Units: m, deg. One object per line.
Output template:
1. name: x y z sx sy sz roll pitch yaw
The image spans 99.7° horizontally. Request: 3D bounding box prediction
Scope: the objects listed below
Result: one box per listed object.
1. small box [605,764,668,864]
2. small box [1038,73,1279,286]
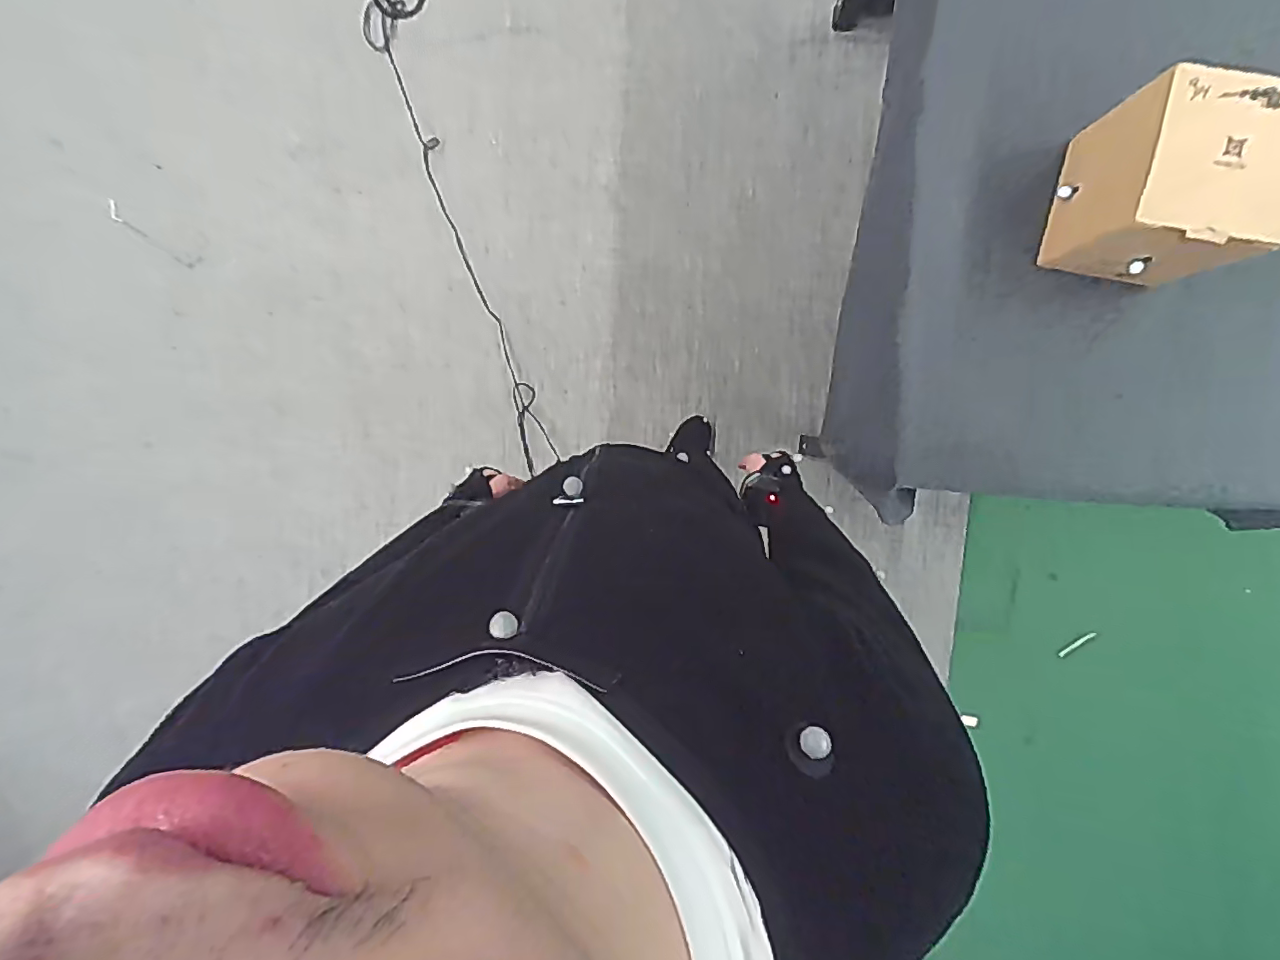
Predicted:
1. small box: -0.007 0.972 1.581 0.168 0.176 0.179 5 96 1
2. small box: 0.655 -0.362 0.687 0.168 0.176 0.179 12 97 2
